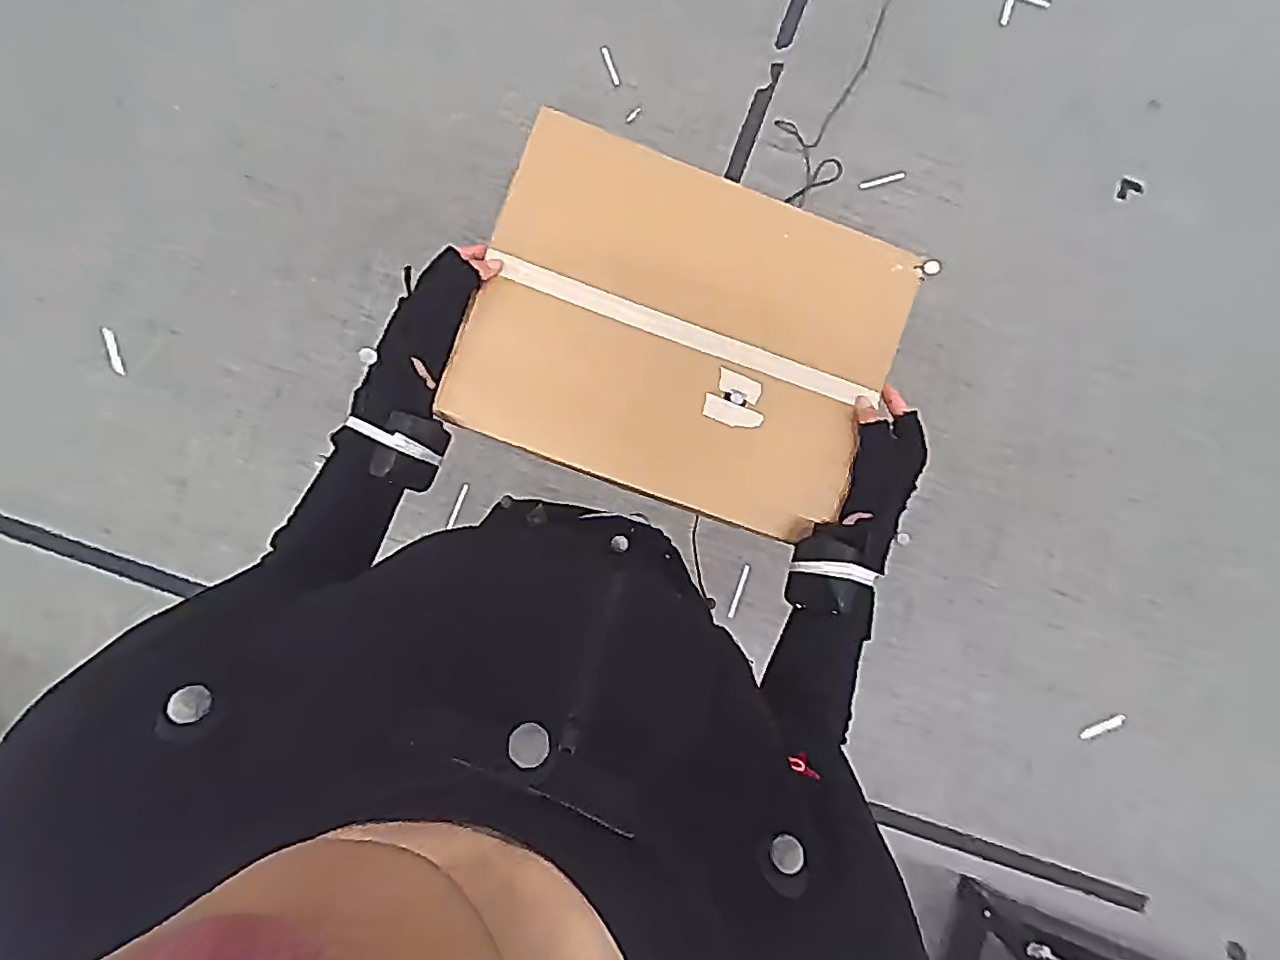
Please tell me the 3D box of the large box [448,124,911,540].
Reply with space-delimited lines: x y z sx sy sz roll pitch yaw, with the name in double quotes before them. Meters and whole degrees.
"large box" 0.033 -0.143 0.685 0.408 0.320 0.320 20 89 -5
